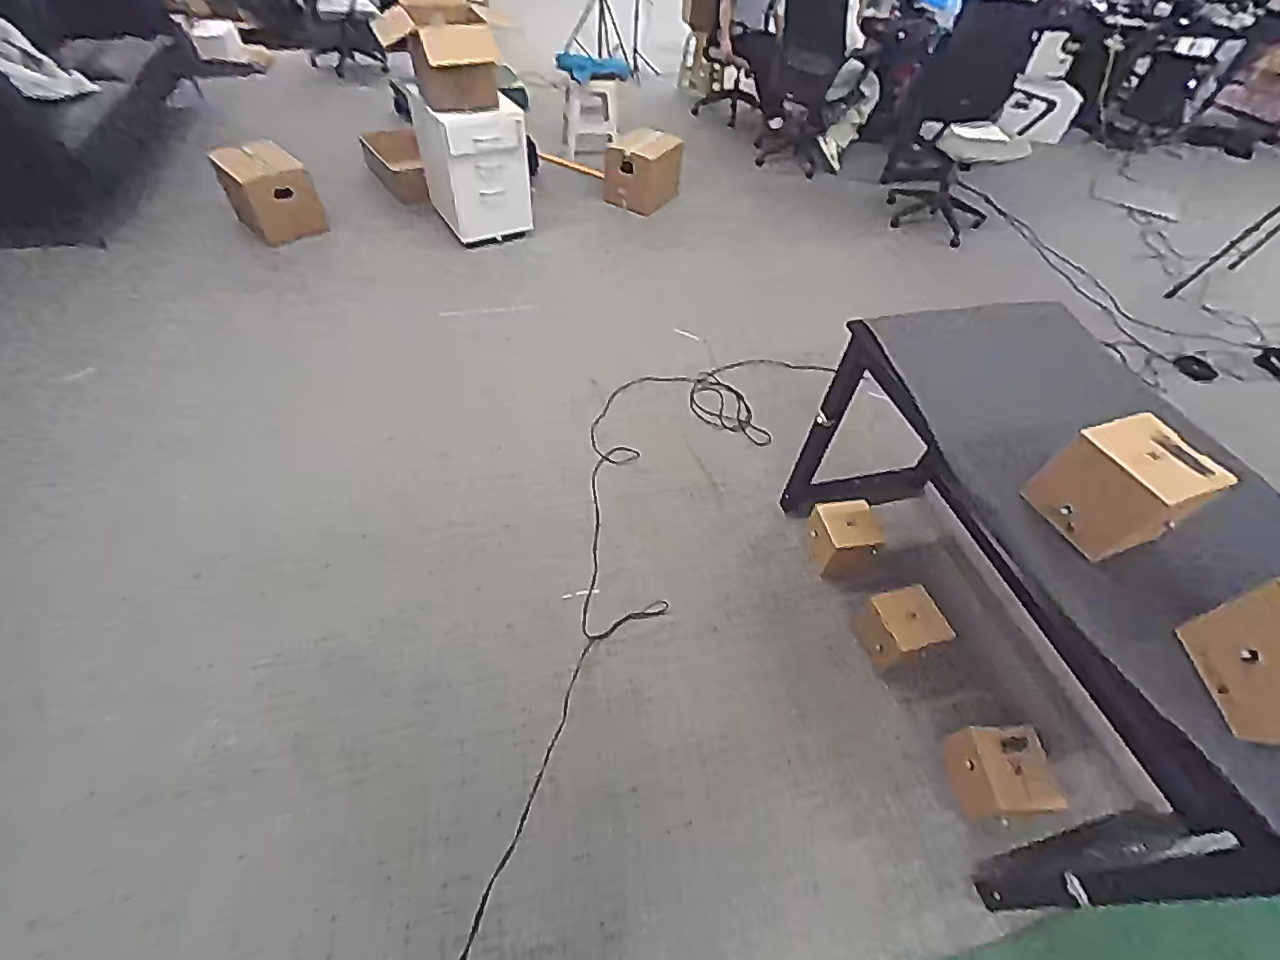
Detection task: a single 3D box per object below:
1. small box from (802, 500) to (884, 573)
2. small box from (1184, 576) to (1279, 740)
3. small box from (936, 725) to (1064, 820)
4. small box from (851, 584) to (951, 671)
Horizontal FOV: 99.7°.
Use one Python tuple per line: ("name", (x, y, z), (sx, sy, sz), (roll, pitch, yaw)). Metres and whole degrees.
("small box", (0.638, 0.185, 1.730), (0.179, 0.176, 0.168), (-5, 51, -10))
("small box", (0.919, 0.255, 0.741), (0.179, 0.176, 0.168), (9, 50, -1))
("small box", (0.856, 0.710, 1.310), (0.168, 0.176, 0.179), (1, 52, -4))
("small box", (0.728, 0.423, 1.538), (0.179, 0.176, 0.168), (-10, 52, -14))
